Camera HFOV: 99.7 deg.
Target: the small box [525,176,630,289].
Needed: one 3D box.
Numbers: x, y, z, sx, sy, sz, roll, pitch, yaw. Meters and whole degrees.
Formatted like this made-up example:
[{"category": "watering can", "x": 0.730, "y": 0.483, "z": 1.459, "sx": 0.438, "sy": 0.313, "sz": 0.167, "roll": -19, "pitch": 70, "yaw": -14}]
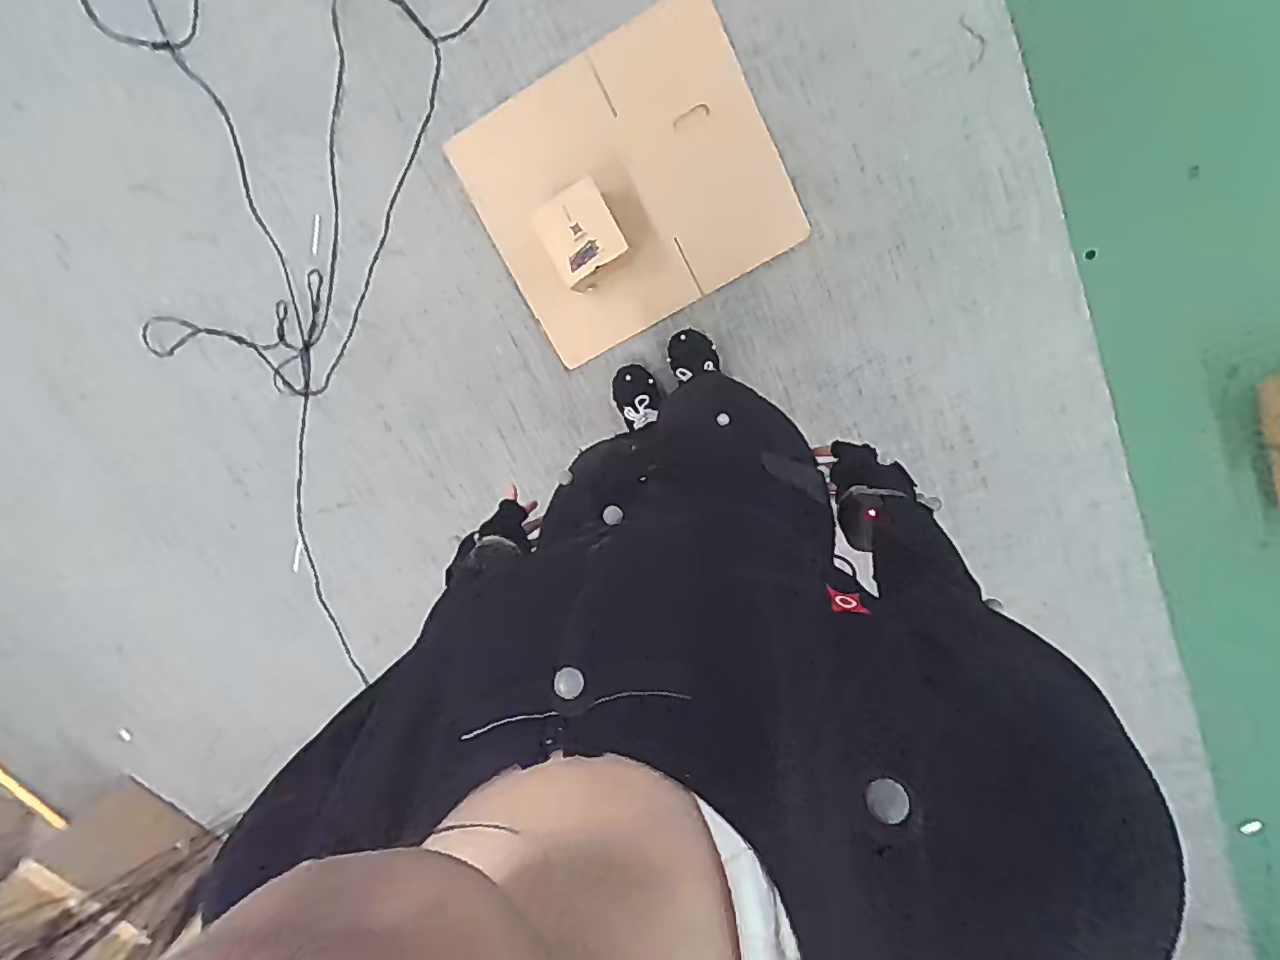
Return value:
[{"category": "small box", "x": -0.135, "y": -0.561, "z": 1.256, "sx": 0.168, "sy": 0.176, "sz": 0.179, "roll": -29, "pitch": 101, "yaw": 10}]
